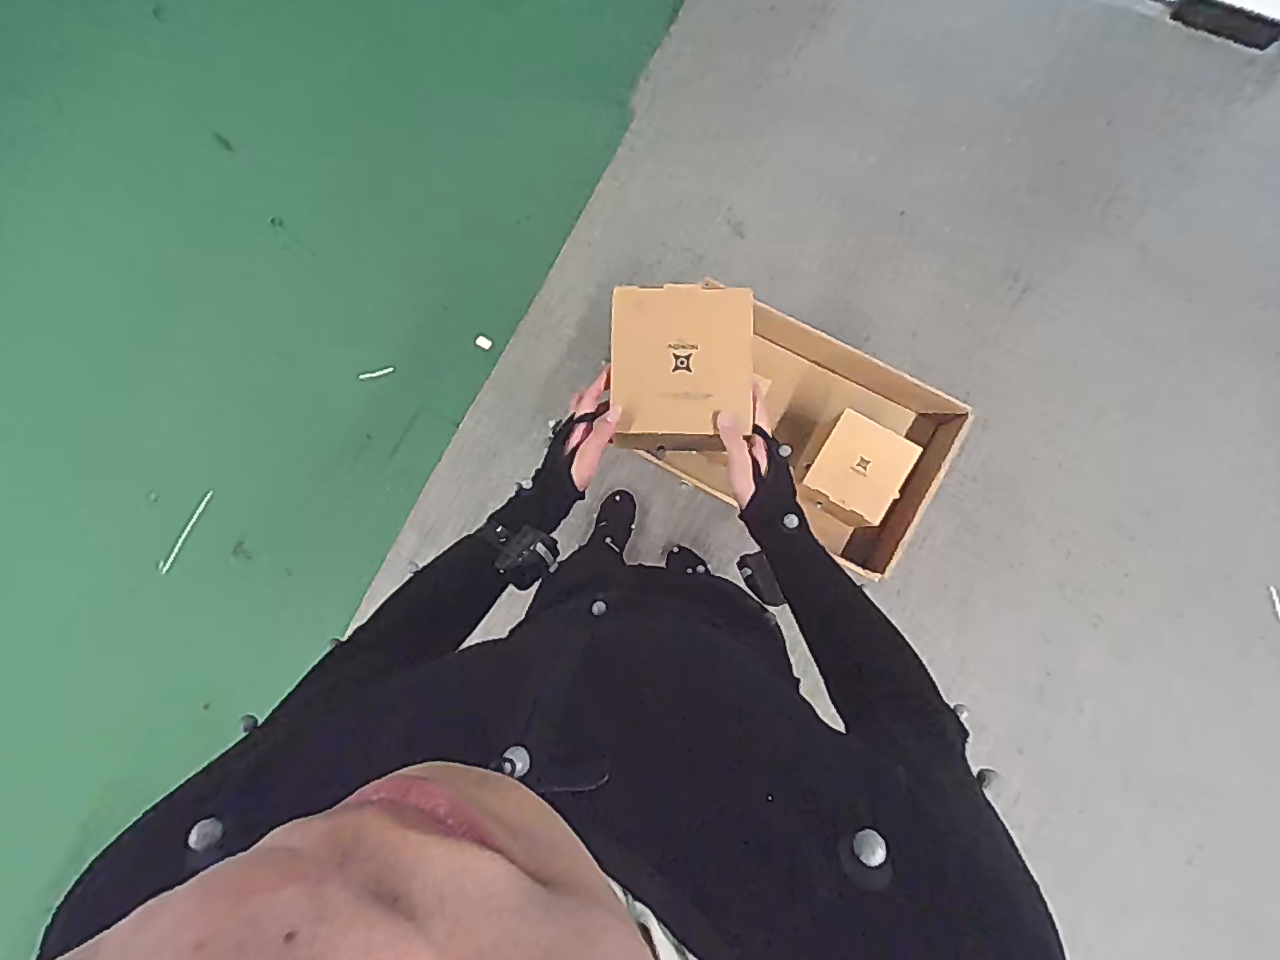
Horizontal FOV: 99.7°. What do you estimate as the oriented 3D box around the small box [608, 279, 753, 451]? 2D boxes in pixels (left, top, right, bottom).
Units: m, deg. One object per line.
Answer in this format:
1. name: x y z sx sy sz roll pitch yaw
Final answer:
1. small box: 0.045 -0.137 0.696 0.168 0.176 0.179 1 86 -1
